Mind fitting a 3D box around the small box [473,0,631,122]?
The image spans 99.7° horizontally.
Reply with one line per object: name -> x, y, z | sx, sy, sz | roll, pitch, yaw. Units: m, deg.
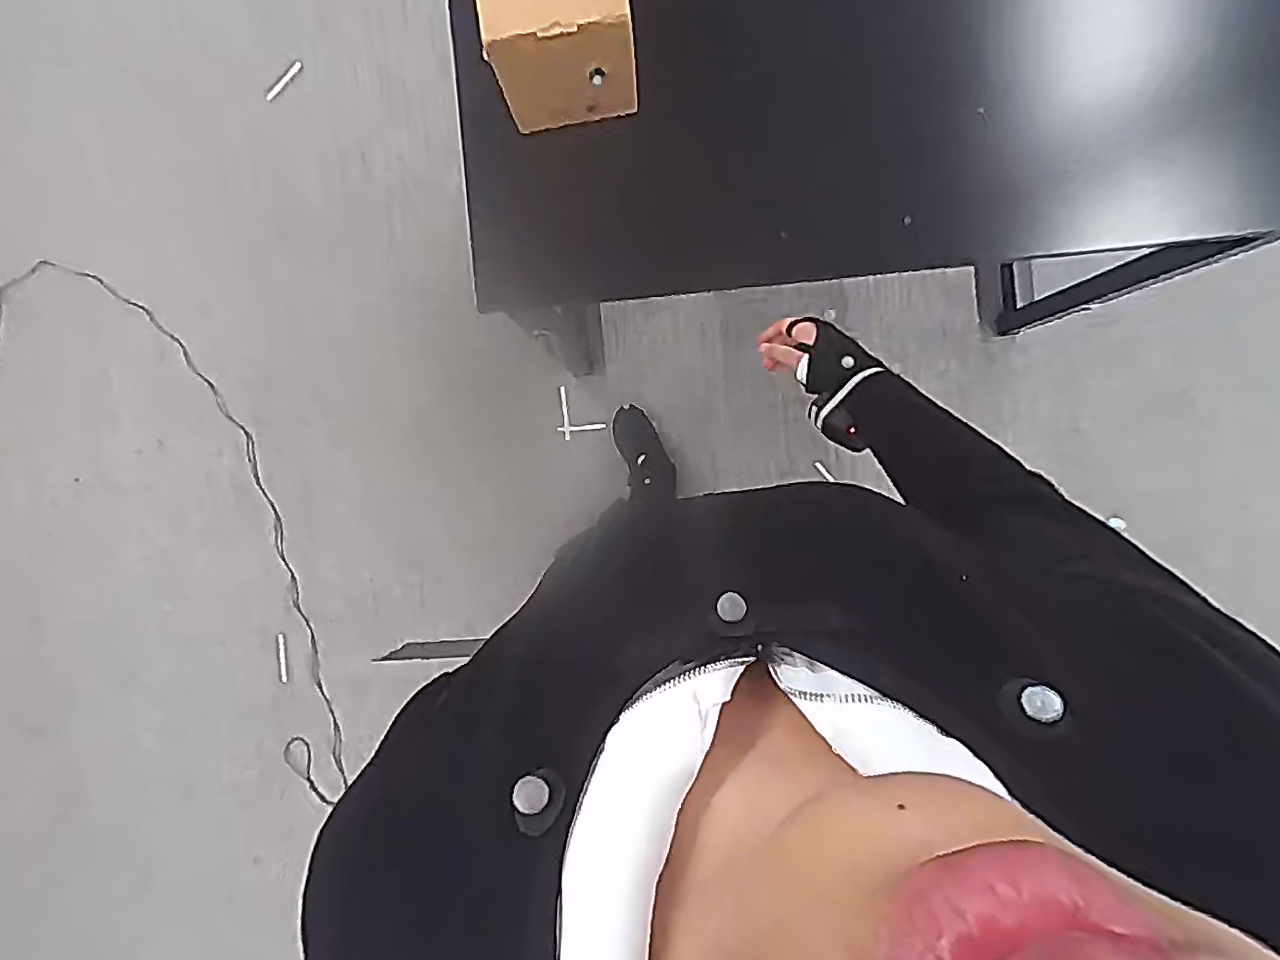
small box -> -0.105, -0.577, 0.666 | 0.168, 0.176, 0.179 | -9, 91, 1
